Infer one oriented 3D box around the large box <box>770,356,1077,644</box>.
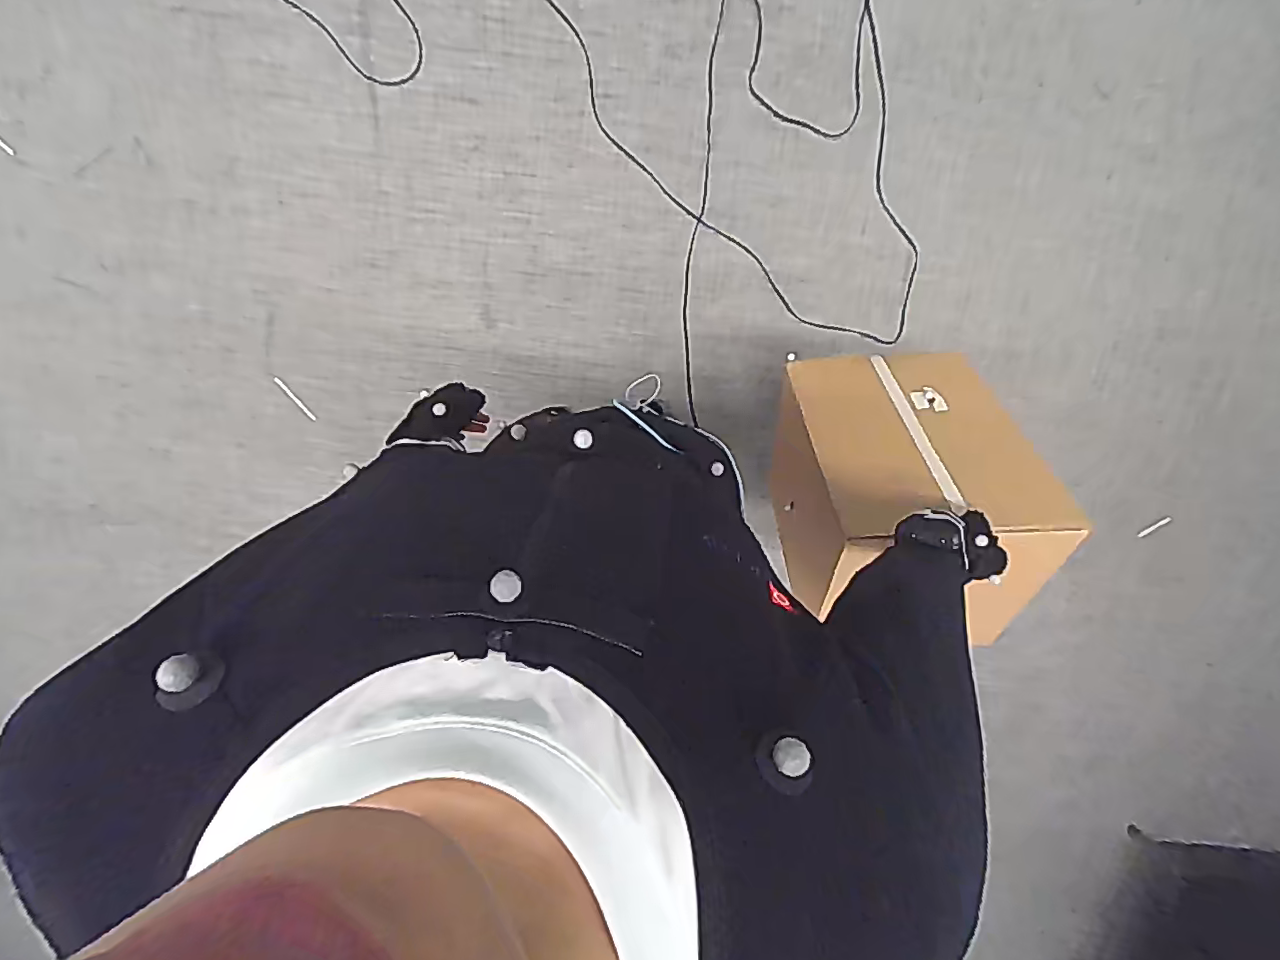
[{"bbox_3d":[0.429,0.030,0.952,0.320,0.408,0.320,-2,136,2],"label":"large box"}]
